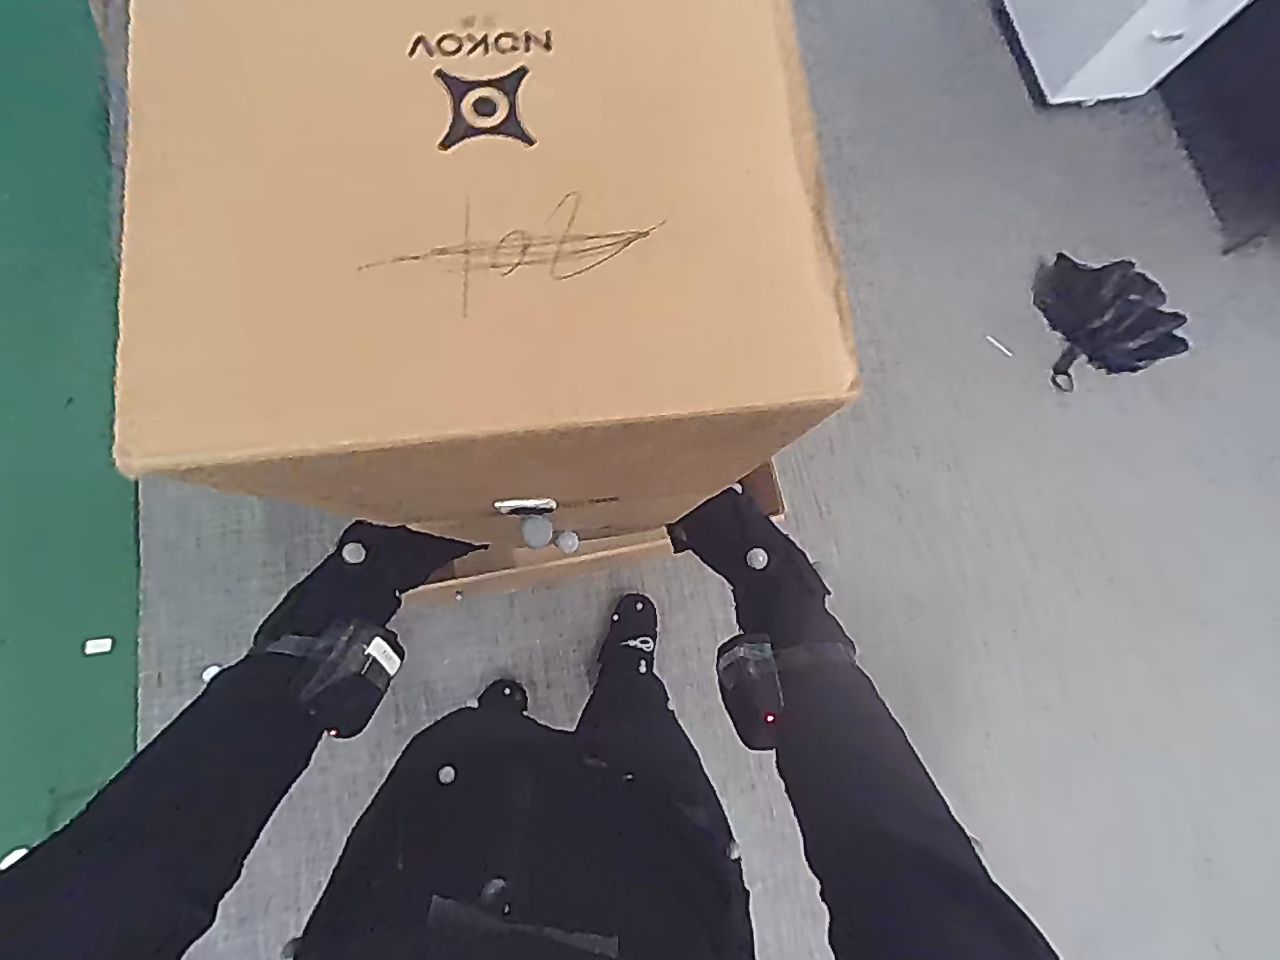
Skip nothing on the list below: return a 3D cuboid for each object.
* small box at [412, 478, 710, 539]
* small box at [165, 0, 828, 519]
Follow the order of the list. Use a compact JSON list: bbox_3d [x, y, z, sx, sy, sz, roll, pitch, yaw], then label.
[{"bbox_3d":[-0.058,-0.058,0.386,0.168,0.176,0.179,-7,81,-5],"label":"small box"},{"bbox_3d":[-0.046,-0.086,0.227,0.168,0.176,0.179,-7,82,-4],"label":"small box"}]
